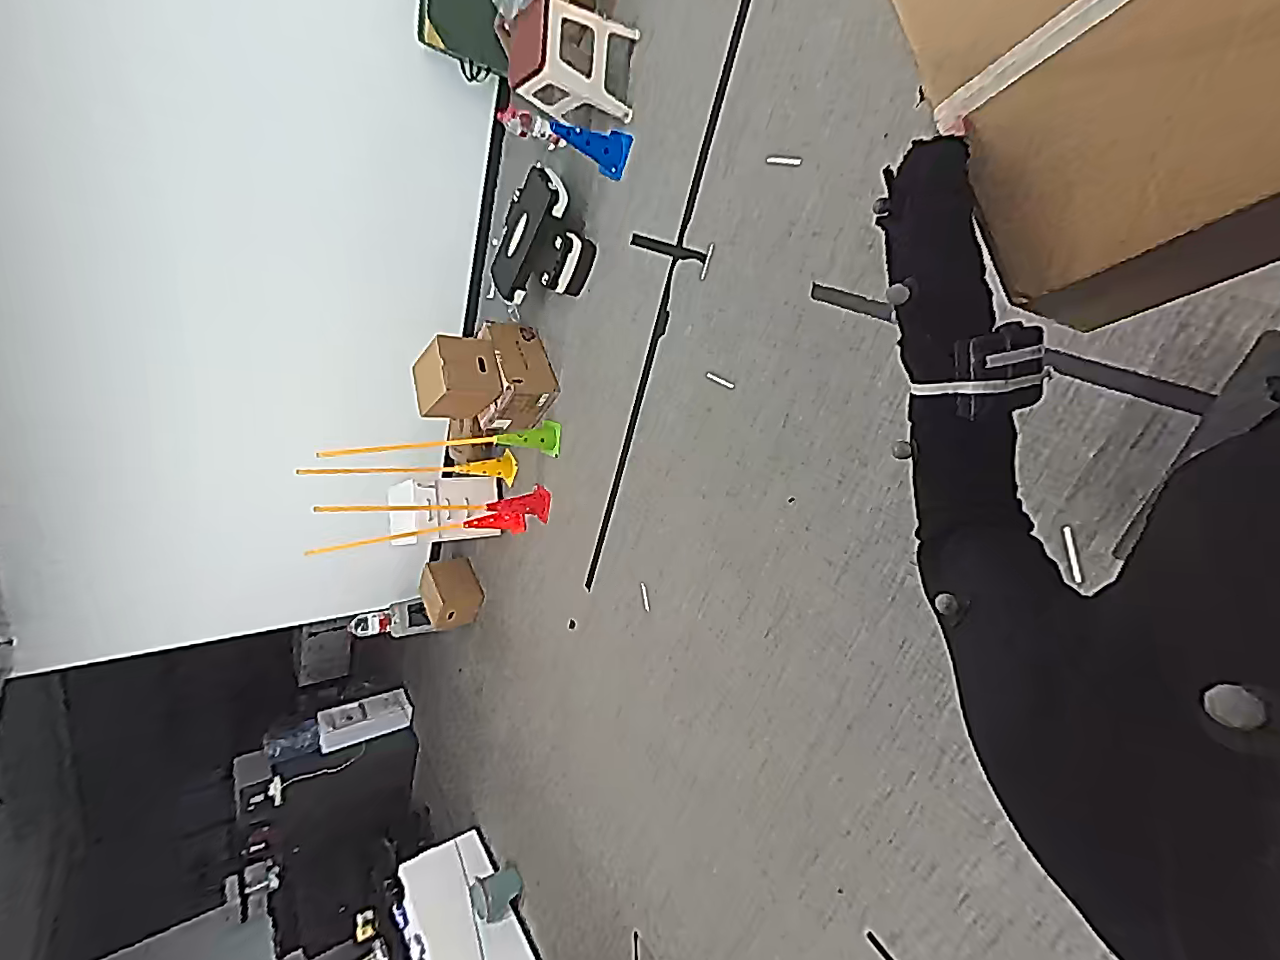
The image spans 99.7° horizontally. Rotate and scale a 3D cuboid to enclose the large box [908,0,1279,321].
[{"bbox_3d":[0.473,-0.356,0.375,0.408,0.320,0.320,-23,80,46],"label":"large box"}]
